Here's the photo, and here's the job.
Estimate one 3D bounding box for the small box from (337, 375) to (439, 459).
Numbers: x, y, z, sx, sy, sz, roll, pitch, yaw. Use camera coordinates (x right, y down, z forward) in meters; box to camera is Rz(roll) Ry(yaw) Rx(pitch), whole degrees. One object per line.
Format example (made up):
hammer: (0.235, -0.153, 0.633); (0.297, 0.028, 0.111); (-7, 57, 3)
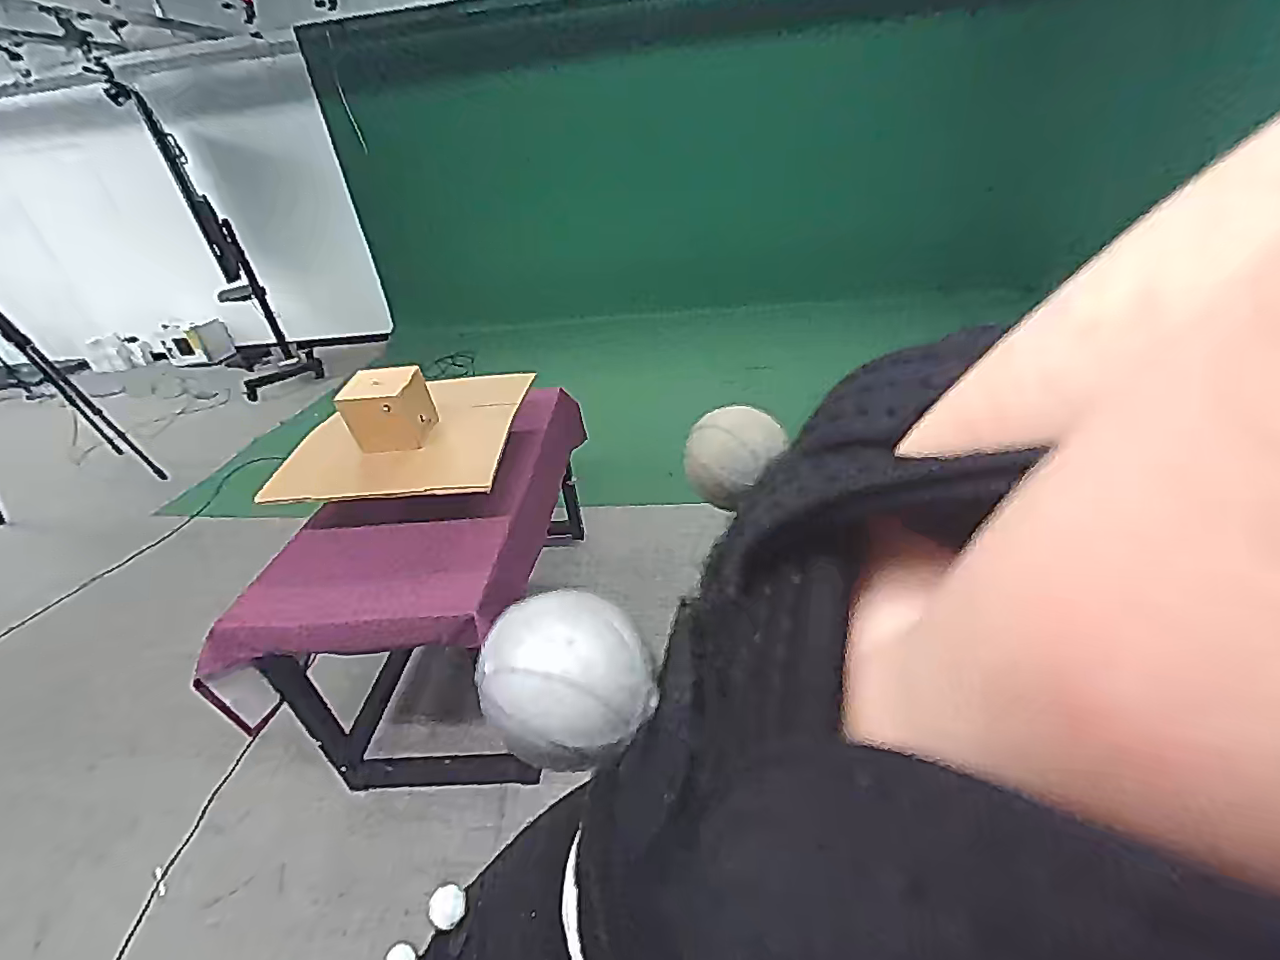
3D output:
small box: (-0.683, -0.171, 1.489); (0.179, 0.176, 0.168); (-4, 39, 4)
